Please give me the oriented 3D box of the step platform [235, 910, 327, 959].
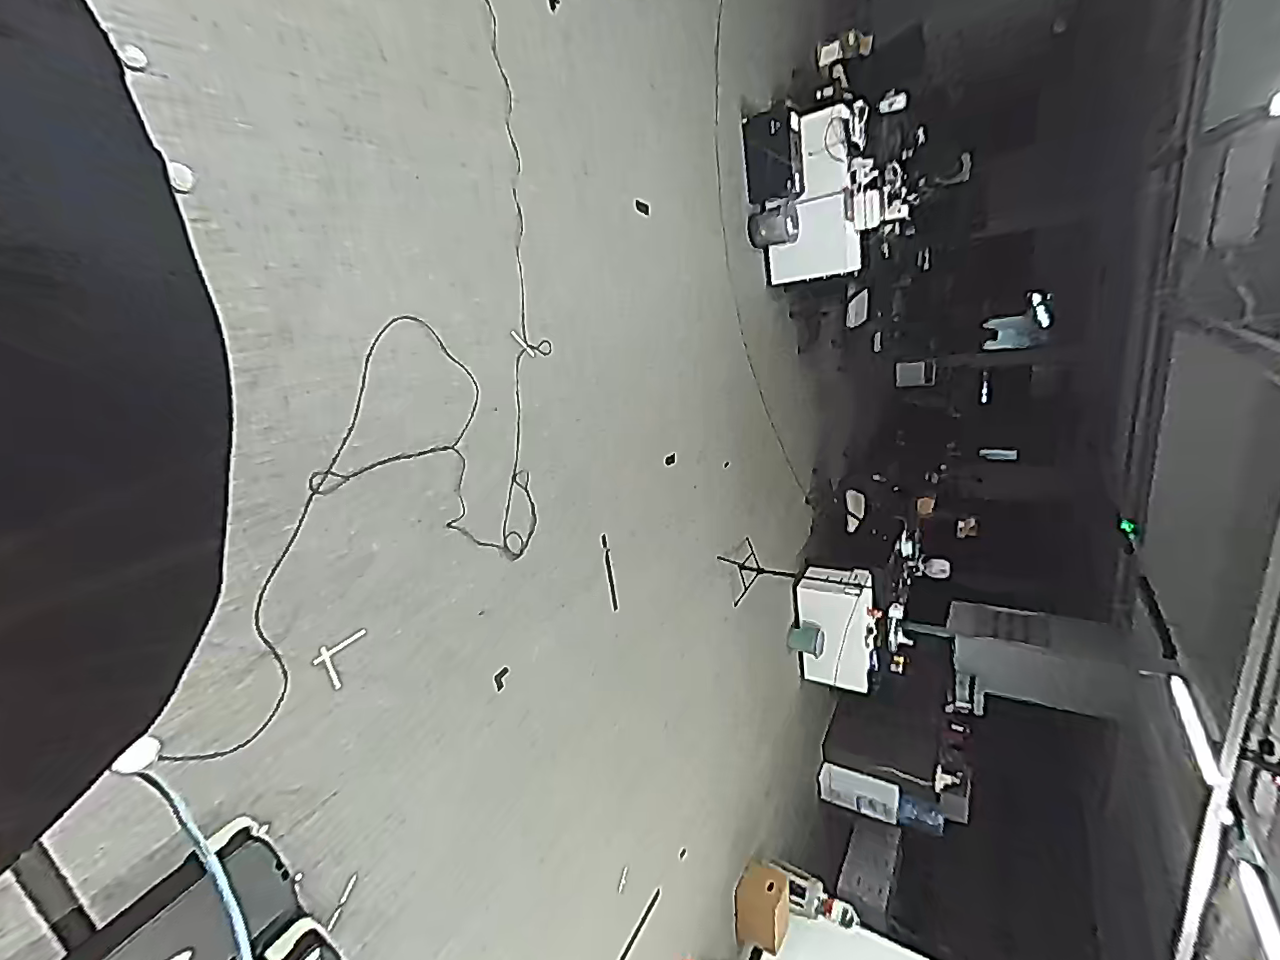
[{"bbox_3d":[-1.026,1.364,1.165,0.684,0.204,0.286,-35,121,-48],"label":"step platform"}]
